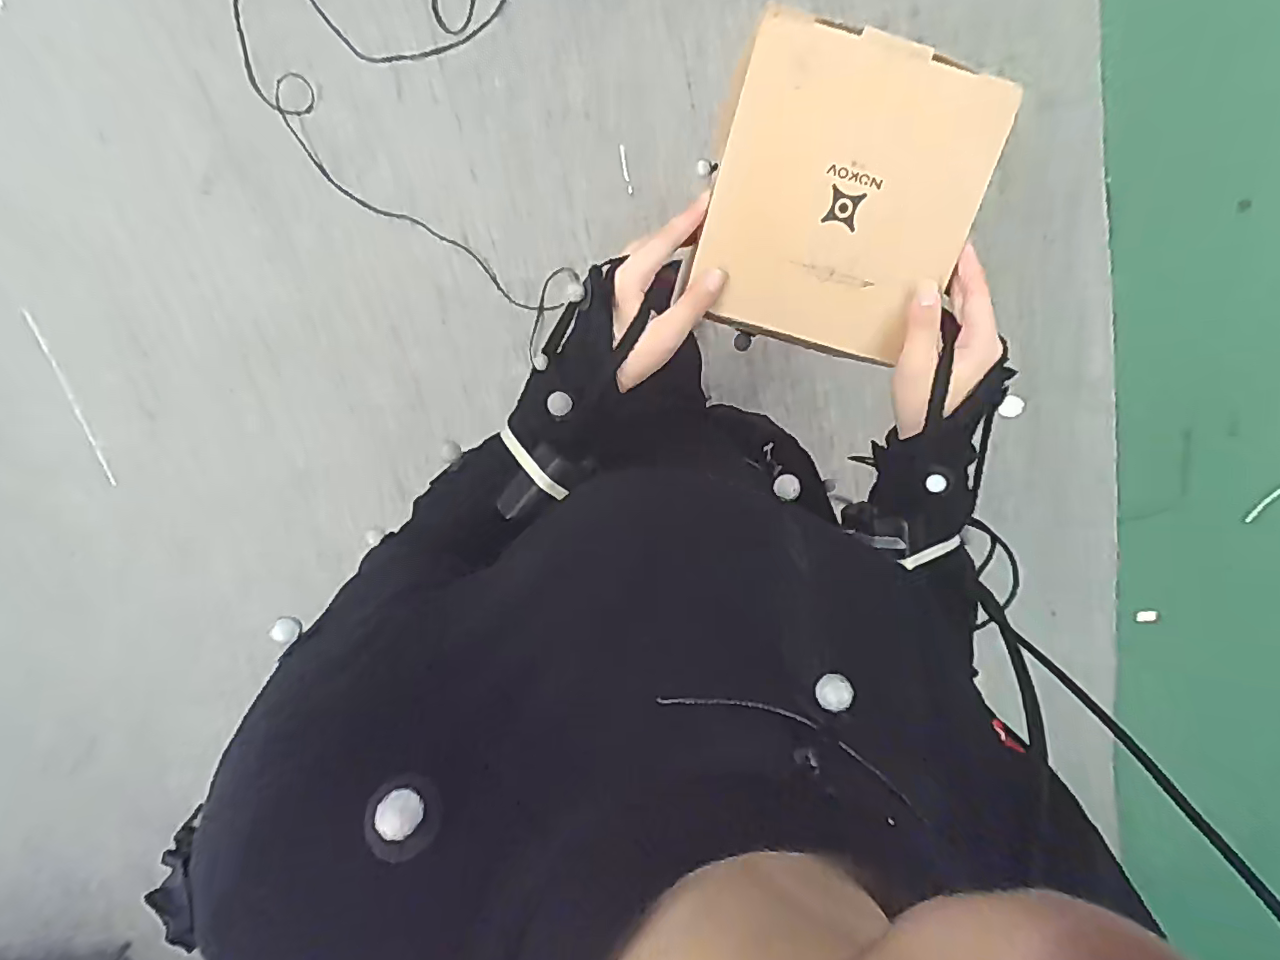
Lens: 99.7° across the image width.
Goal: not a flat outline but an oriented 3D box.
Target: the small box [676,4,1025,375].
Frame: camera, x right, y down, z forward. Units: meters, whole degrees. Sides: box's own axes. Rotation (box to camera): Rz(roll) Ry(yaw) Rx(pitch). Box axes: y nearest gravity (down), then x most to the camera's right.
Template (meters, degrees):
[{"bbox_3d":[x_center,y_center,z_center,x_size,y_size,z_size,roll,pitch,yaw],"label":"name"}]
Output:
[{"bbox_3d":[0.128,-0.193,0.412,0.168,0.176,0.179,15,106,-4],"label":"small box"}]
